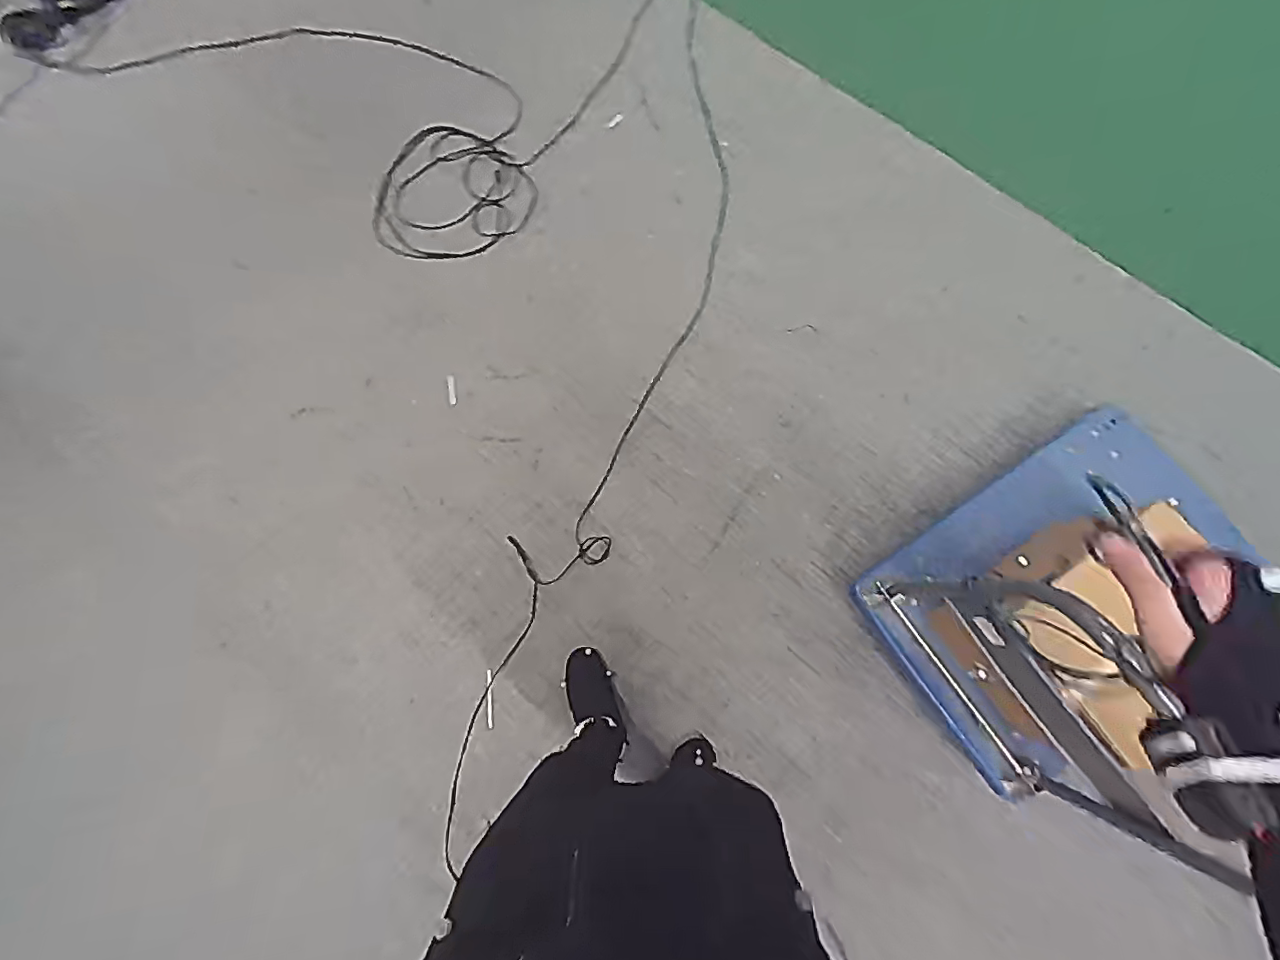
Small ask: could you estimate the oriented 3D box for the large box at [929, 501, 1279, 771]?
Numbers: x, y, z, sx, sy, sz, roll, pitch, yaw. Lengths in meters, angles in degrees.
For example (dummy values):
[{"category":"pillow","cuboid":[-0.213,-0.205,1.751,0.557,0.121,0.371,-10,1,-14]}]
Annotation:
[{"category":"large box","cuboid":[0.913,0.306,1.116,0.408,0.320,0.320,-33,79,-8]}]
